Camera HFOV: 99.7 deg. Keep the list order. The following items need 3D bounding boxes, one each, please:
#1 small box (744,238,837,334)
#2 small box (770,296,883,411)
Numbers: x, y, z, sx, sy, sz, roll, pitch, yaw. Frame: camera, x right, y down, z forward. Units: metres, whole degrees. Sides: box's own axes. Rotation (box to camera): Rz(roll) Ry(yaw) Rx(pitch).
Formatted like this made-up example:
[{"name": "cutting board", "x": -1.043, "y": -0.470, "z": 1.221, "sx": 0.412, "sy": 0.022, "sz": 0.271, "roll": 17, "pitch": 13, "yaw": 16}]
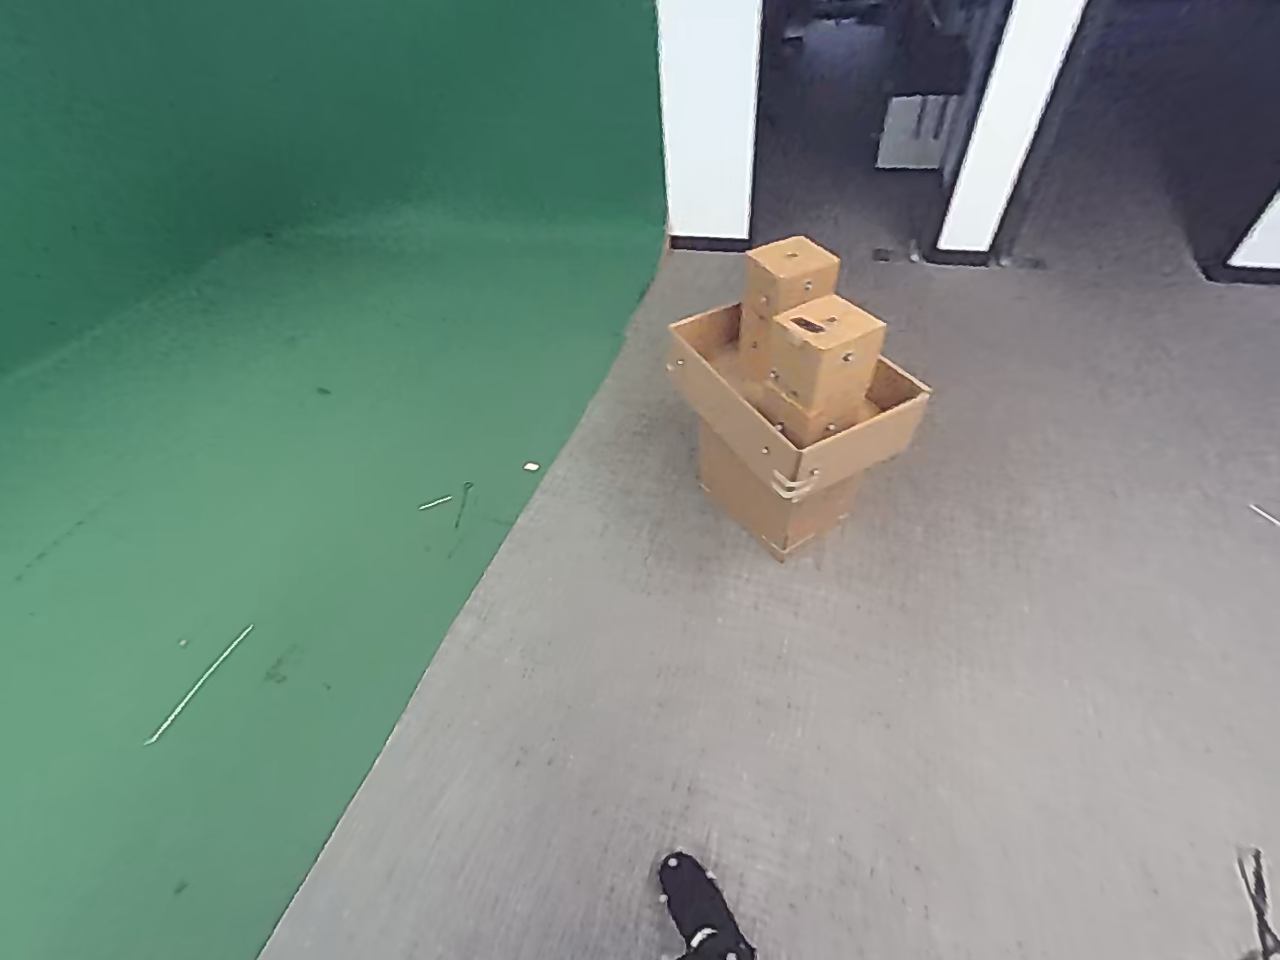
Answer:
[{"name": "small box", "x": 0.391, "y": -0.513, "z": 1.440, "sx": 0.179, "sy": 0.176, "sz": 0.168, "roll": -21, "pitch": 51, "yaw": -12}, {"name": "small box", "x": 0.412, "y": -0.285, "z": 1.230, "sx": 0.179, "sy": 0.176, "sz": 0.168, "roll": -24, "pitch": 50, "yaw": -16}]
